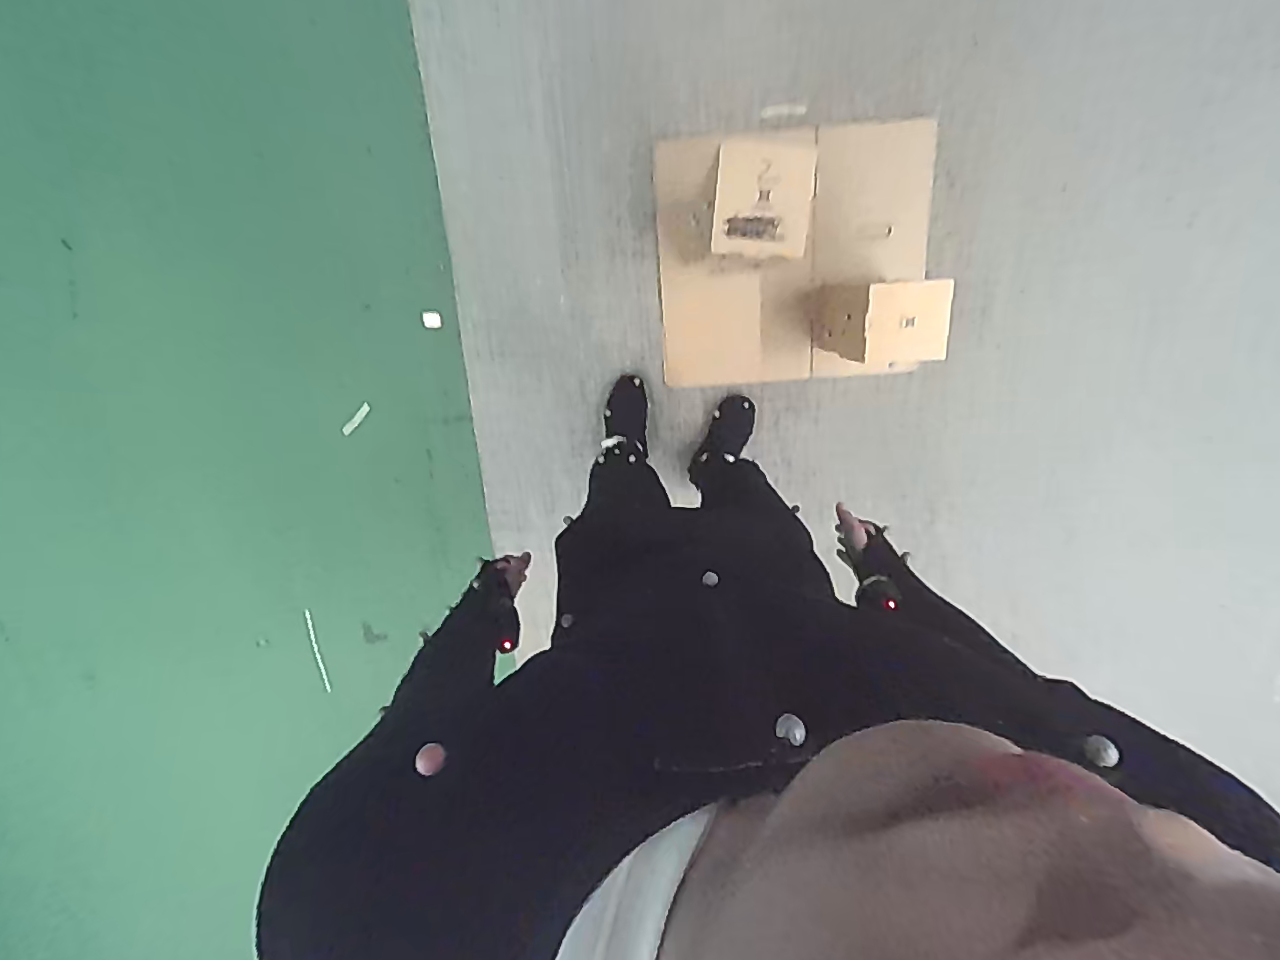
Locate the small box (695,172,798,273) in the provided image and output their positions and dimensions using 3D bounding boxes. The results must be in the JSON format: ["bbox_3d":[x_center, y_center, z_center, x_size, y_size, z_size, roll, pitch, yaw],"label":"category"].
[{"bbox_3d":[0.220,-0.542,1.158,0.179,0.176,0.168,4,106,0],"label":"small box"}]

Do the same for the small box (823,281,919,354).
[{"bbox_3d":[0.574,-0.407,1.367,0.179,0.176,0.168,-3,107,2],"label":"small box"}]

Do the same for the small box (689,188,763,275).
[{"bbox_3d":[0.219,-0.596,1.315,0.179,0.176,0.168,4,106,0],"label":"small box"}]

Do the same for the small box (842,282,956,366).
[{"bbox_3d":[0.571,-0.353,1.215,0.179,0.176,0.168,-3,108,4],"label":"small box"}]
